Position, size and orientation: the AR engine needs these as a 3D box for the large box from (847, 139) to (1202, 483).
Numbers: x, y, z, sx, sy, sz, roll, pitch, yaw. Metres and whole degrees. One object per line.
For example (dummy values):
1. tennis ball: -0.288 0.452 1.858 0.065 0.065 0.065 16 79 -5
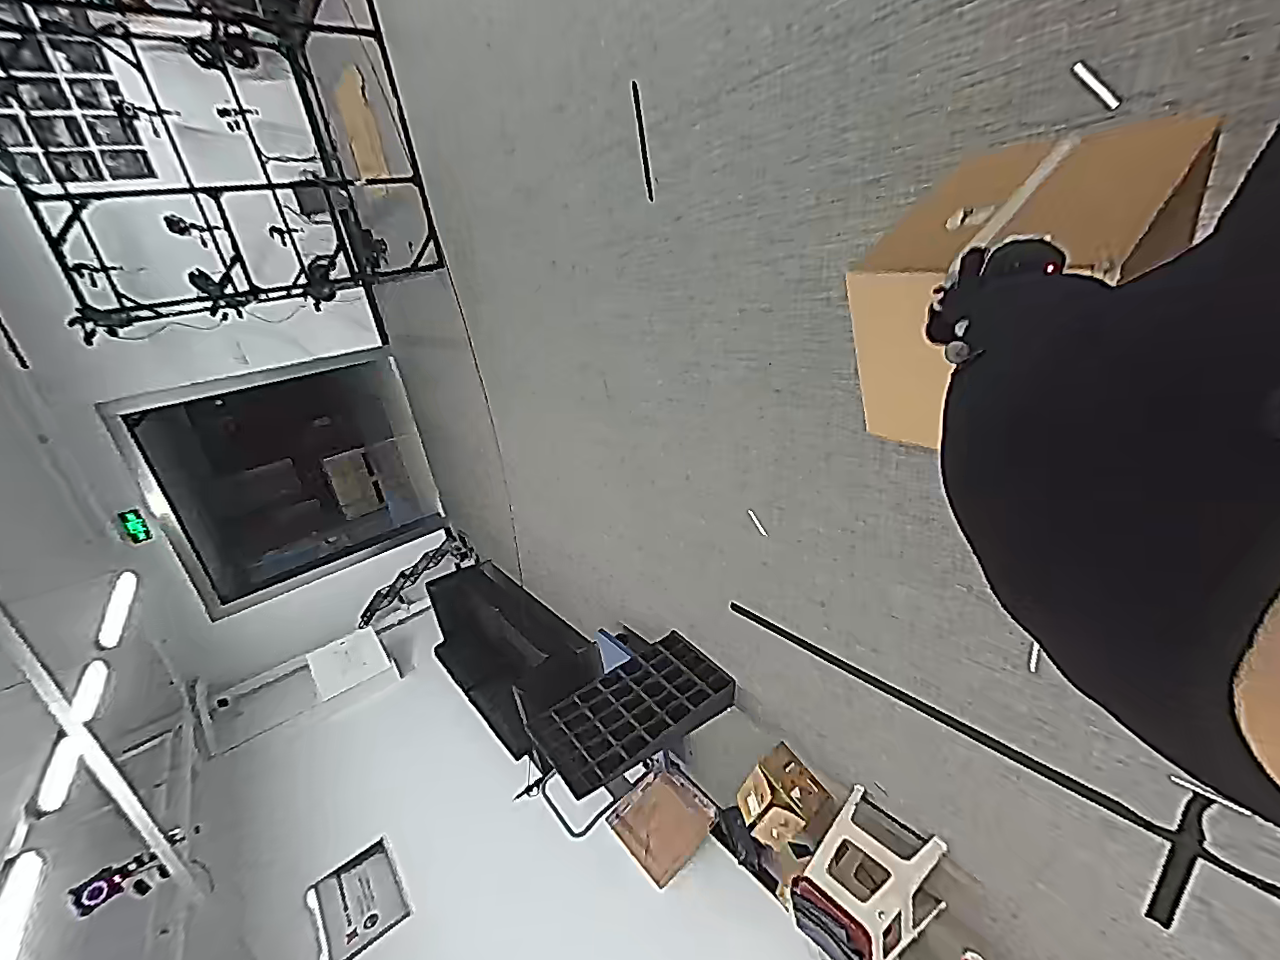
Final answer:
1. large box: 0.584 -0.263 0.845 0.320 0.408 0.320 21 146 47
